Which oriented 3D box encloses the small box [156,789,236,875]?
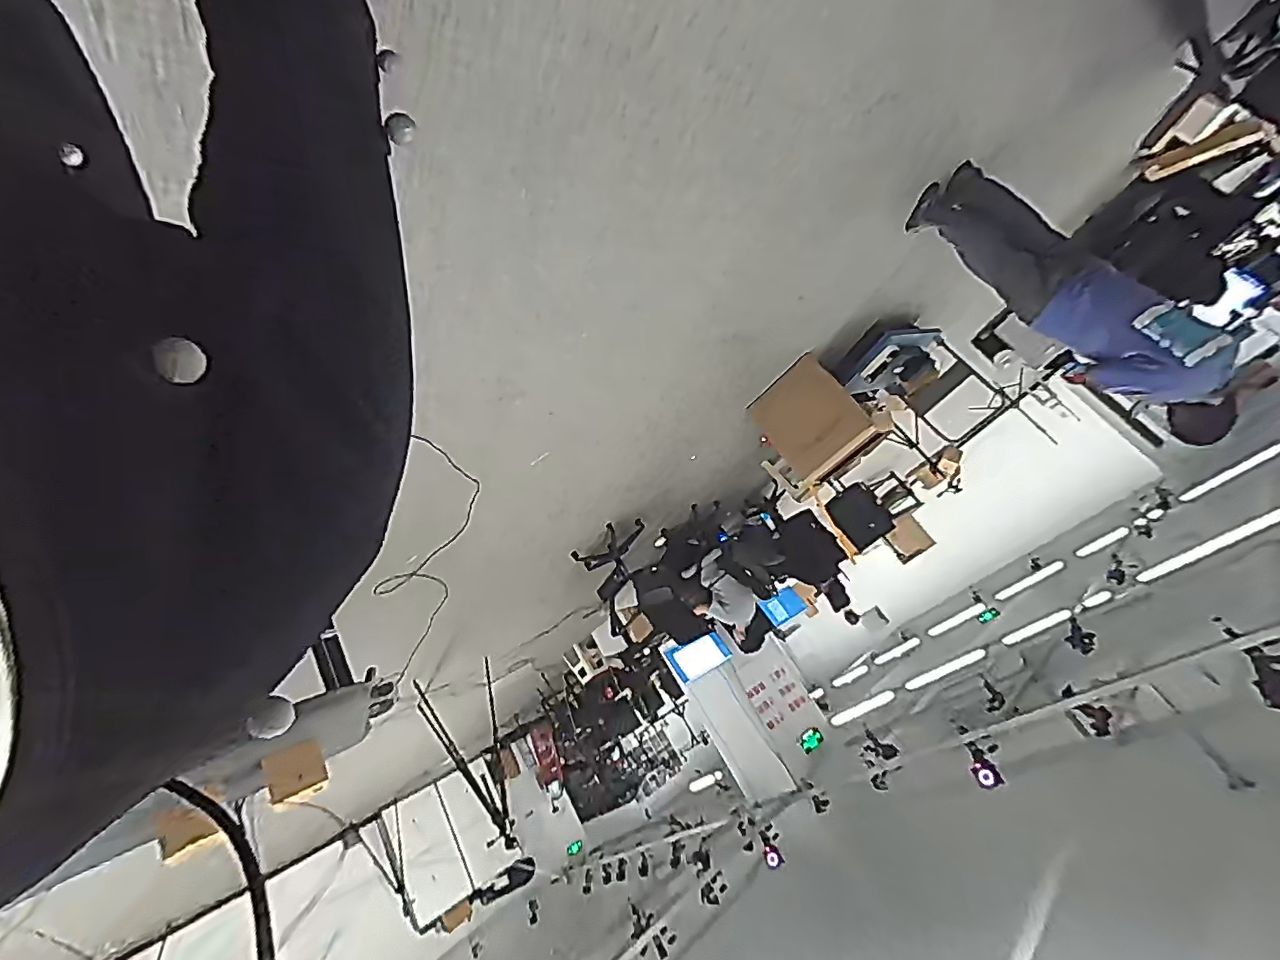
[{"bbox_3d":[-1.460,1.152,1.779,0.168,0.176,0.179,-16,151,-39],"label":"small box"}]

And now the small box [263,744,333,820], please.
[{"bbox_3d":[-1.240,1.092,1.963,0.179,0.176,0.168,-16,151,-36],"label":"small box"}]
